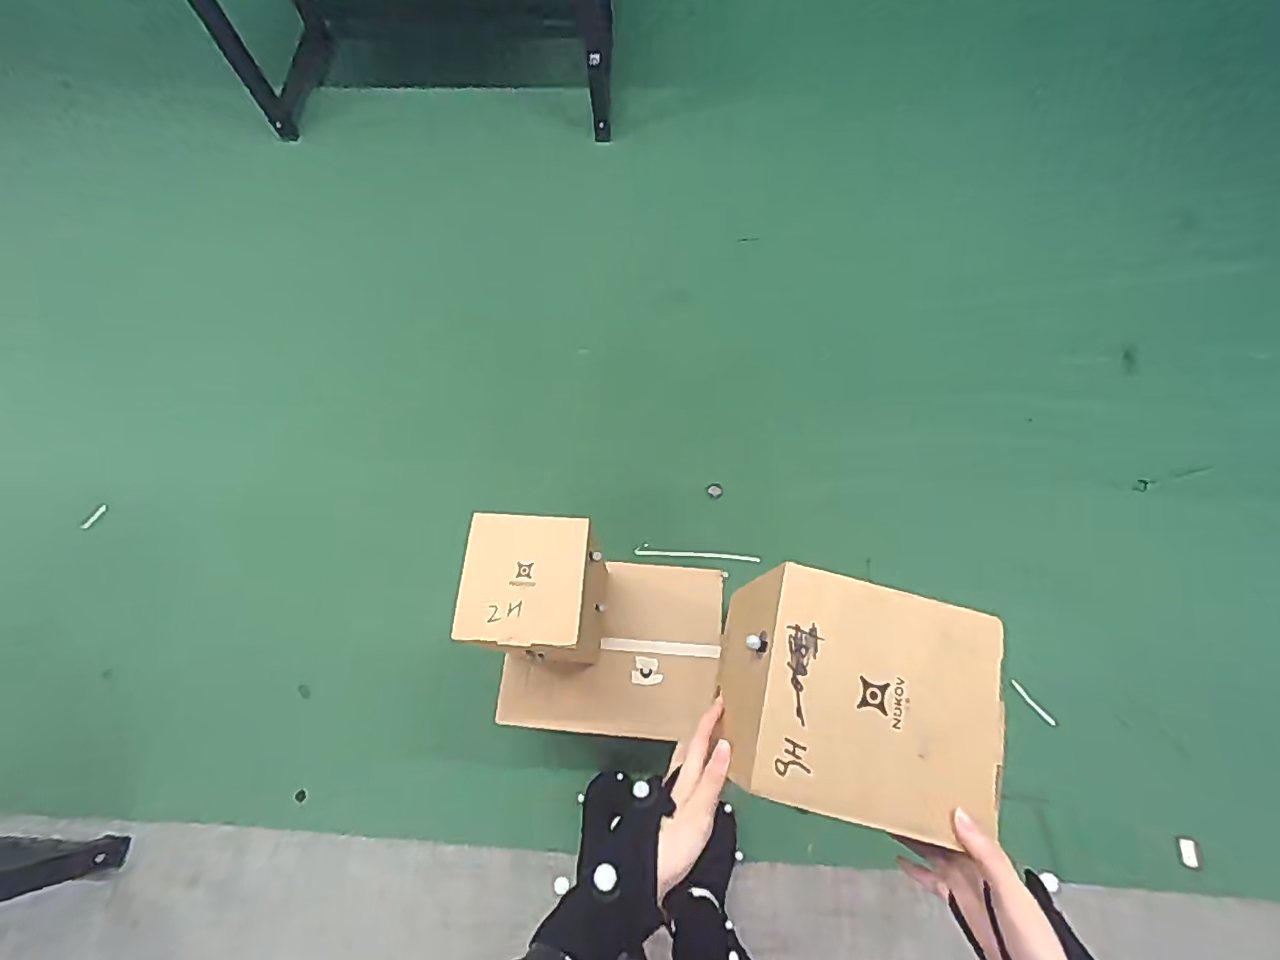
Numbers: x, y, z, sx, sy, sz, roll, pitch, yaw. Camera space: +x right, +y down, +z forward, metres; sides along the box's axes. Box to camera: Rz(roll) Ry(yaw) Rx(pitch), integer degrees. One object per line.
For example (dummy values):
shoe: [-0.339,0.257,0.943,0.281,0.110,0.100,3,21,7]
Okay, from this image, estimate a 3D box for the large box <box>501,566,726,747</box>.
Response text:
large box: [-0.039,0.371,1.140,0.408,0.320,0.320,4,68,3]

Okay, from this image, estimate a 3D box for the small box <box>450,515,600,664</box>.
small box: [-0.153,0.165,0.788,0.168,0.176,0.179,3,67,3]

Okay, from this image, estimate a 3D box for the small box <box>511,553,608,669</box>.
small box: [-0.149,0.226,0.942,0.168,0.176,0.179,4,68,3]

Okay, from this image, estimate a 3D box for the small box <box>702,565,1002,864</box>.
small box: [0.166,0.187,0.461,0.179,0.176,0.168,15,69,1]
